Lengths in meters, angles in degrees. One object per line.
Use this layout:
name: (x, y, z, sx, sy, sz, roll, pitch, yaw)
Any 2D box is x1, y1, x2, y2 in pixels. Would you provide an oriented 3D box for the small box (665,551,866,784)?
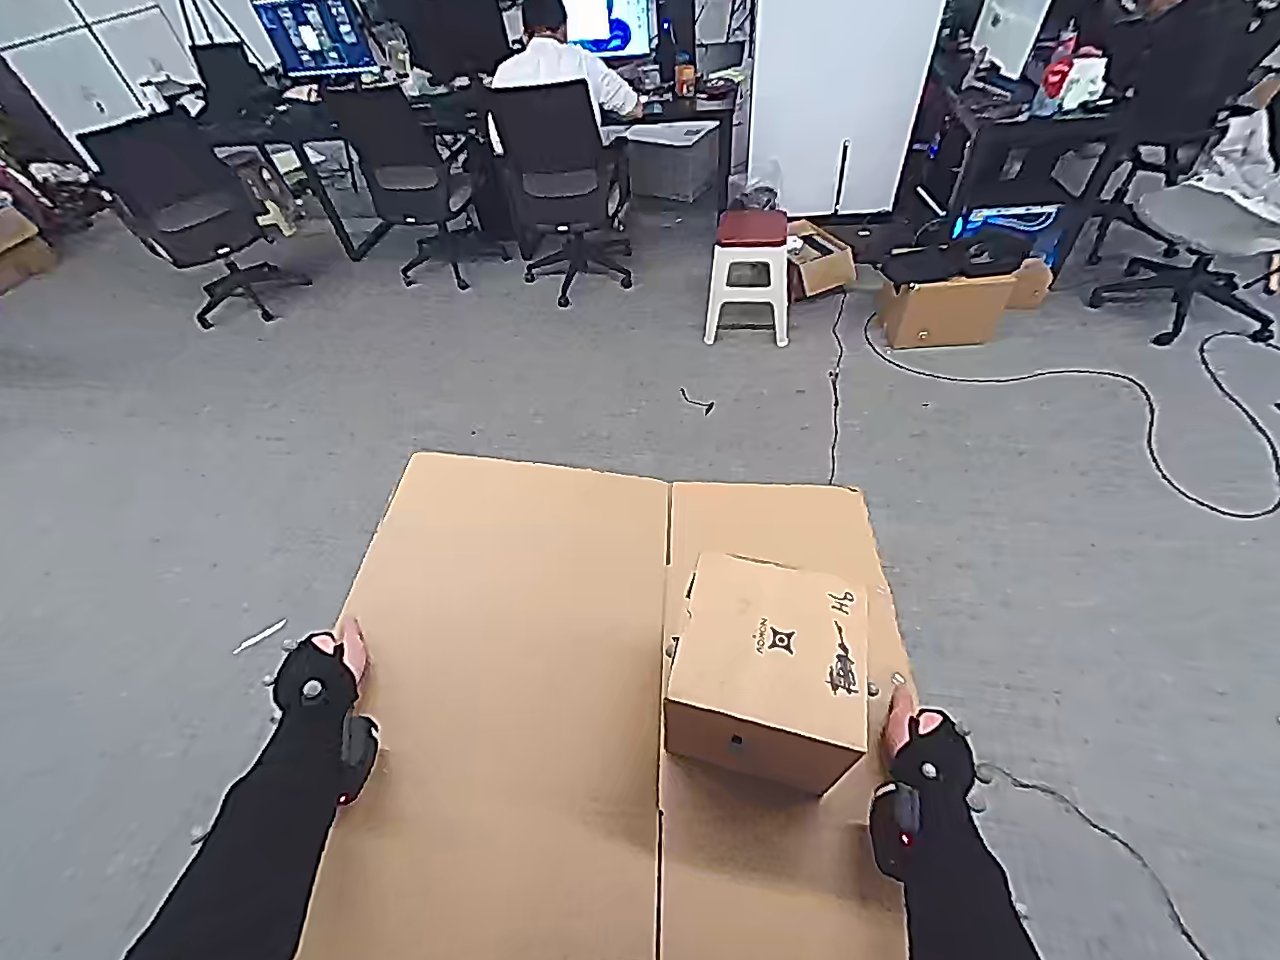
small box: (0.132, 0.203, 0.582, 0.179, 0.176, 0.168, 10, 50, 13)
